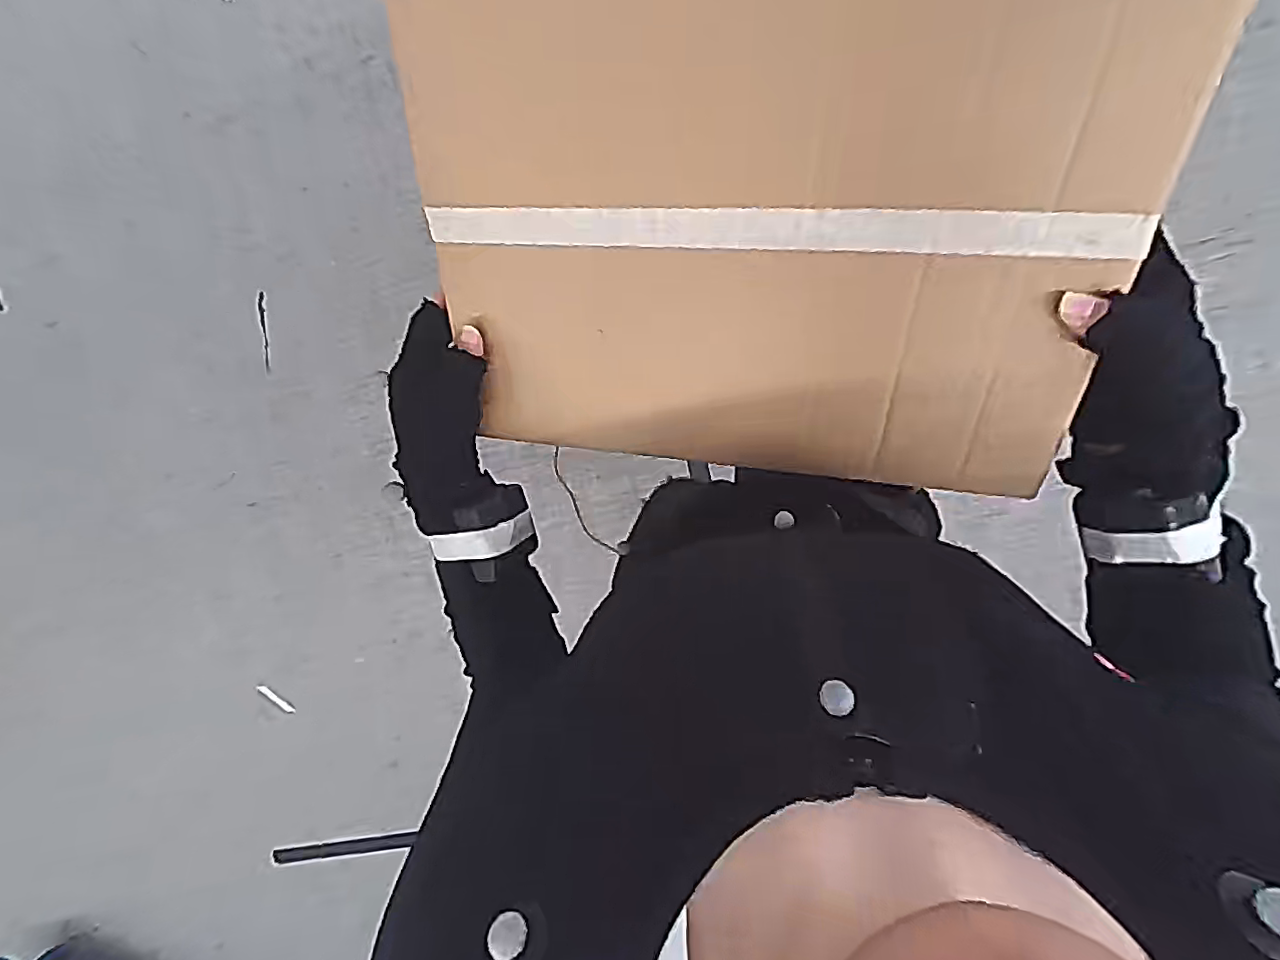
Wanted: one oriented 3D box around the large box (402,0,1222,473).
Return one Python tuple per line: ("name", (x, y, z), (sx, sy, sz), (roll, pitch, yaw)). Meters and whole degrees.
("large box", (0.093, -0.229, 0.445), (0.408, 0.320, 0.320), (7, 124, 12))
